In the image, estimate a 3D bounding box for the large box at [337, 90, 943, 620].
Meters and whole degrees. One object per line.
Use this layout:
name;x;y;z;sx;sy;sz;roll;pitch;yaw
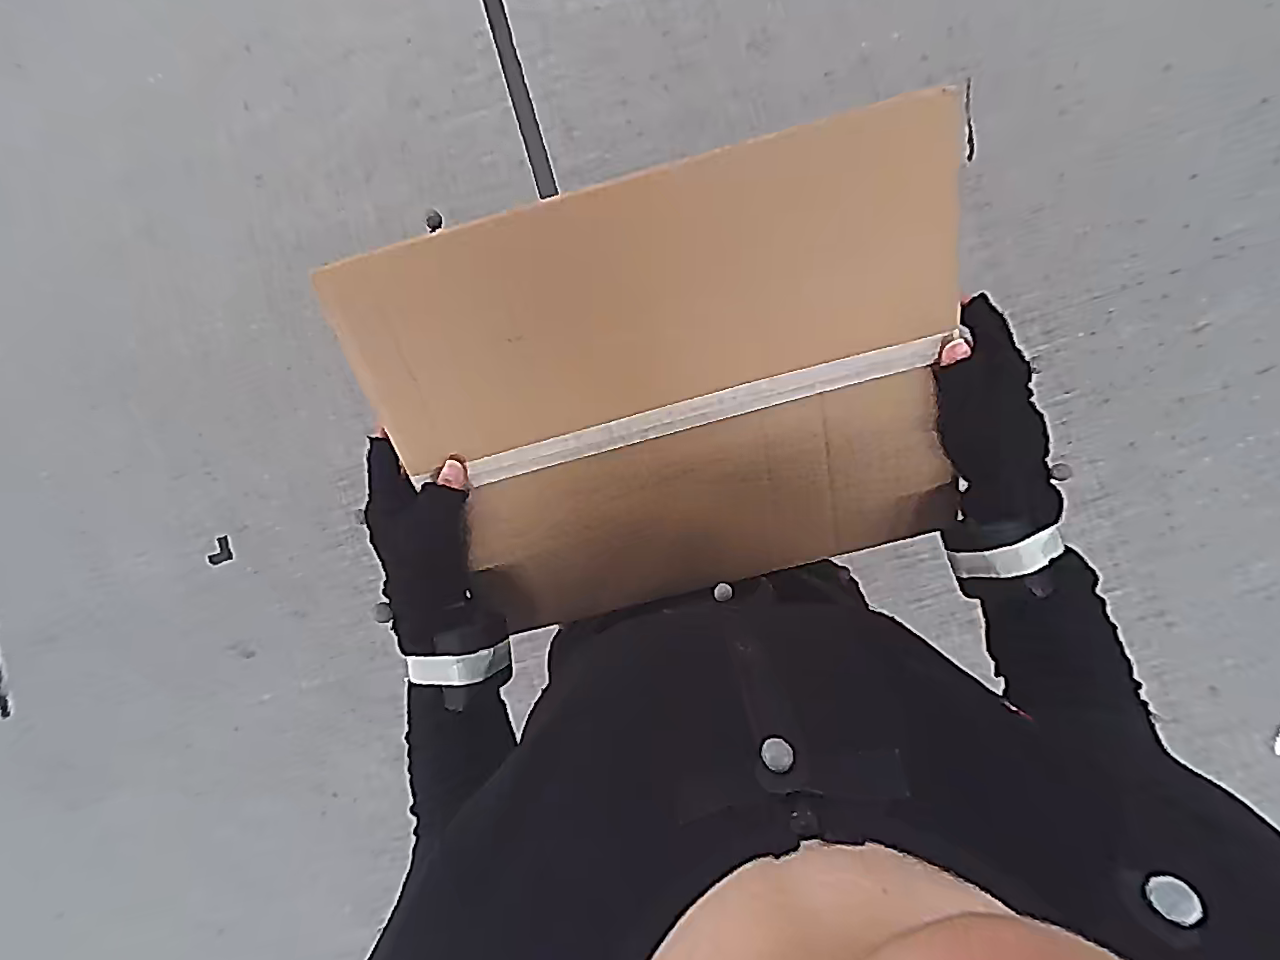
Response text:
large box;0.017;-0.119;0.539;0.408;0.320;0.320;-14;117;4
